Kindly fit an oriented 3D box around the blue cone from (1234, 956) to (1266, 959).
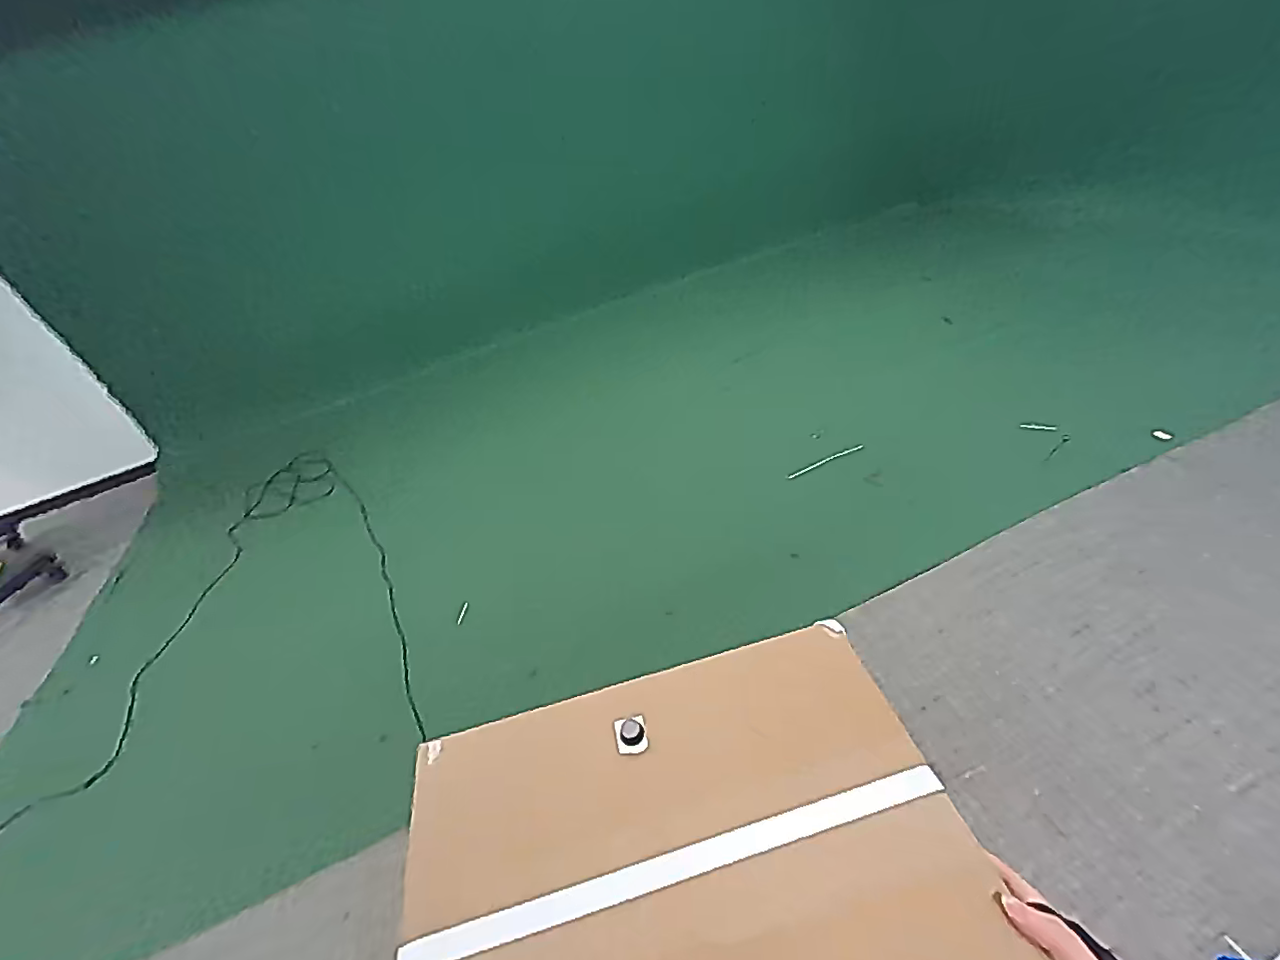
[{"bbox_3d":[1.107,0.791,0.796,0.192,0.380,0.193,-2,39,15],"label":"blue cone"}]
